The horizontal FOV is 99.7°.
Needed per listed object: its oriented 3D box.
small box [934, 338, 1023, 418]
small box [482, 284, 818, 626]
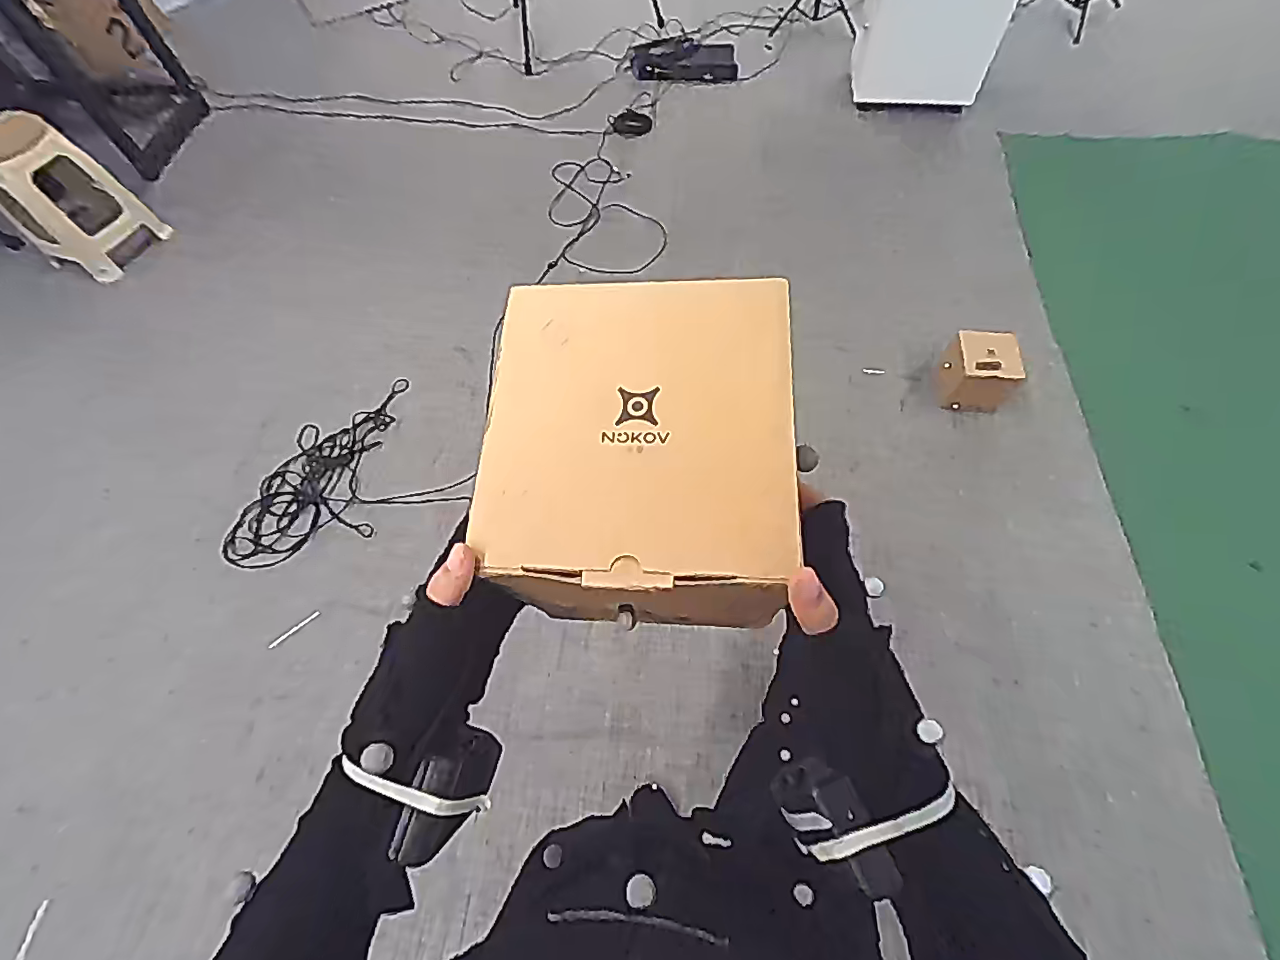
[{"bbox_3d":[1.028,-0.309,1.656,0.168,0.176,0.179,6,61,6],"label":"small box"},{"bbox_3d":[0.015,-0.005,0.363,0.168,0.176,0.179,1,69,7],"label":"small box"}]
